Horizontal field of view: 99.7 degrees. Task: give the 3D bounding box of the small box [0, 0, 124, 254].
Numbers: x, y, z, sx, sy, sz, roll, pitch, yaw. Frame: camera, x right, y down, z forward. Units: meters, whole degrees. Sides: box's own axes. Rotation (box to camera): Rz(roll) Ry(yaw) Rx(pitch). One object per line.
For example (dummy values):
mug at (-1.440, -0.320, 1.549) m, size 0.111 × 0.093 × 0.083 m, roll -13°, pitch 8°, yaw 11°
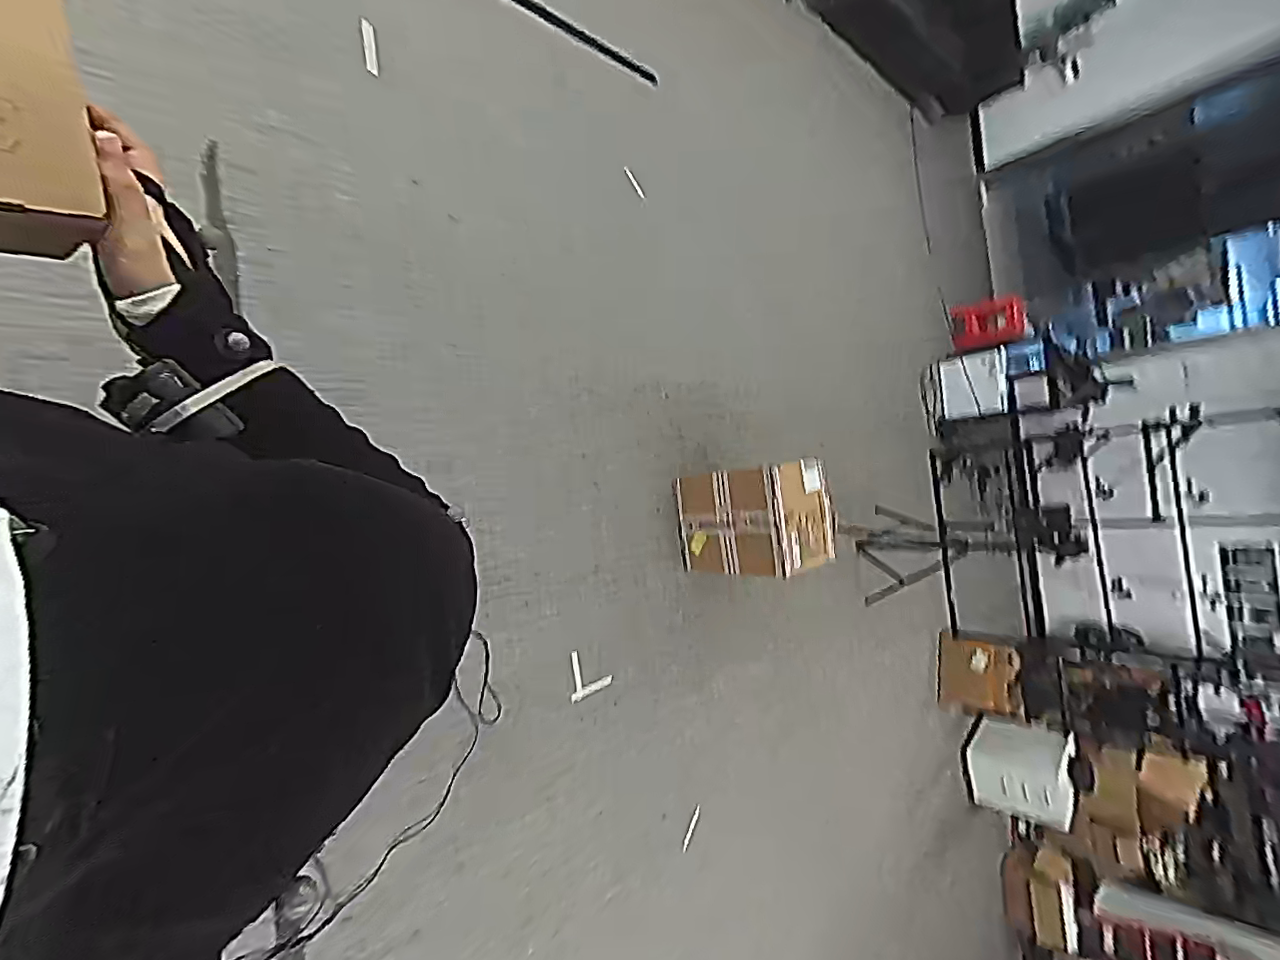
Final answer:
small box at (-0.399, -0.222, 0.275) m, size 0.168 × 0.176 × 0.179 m, roll -15°, pitch 111°, yaw -49°
